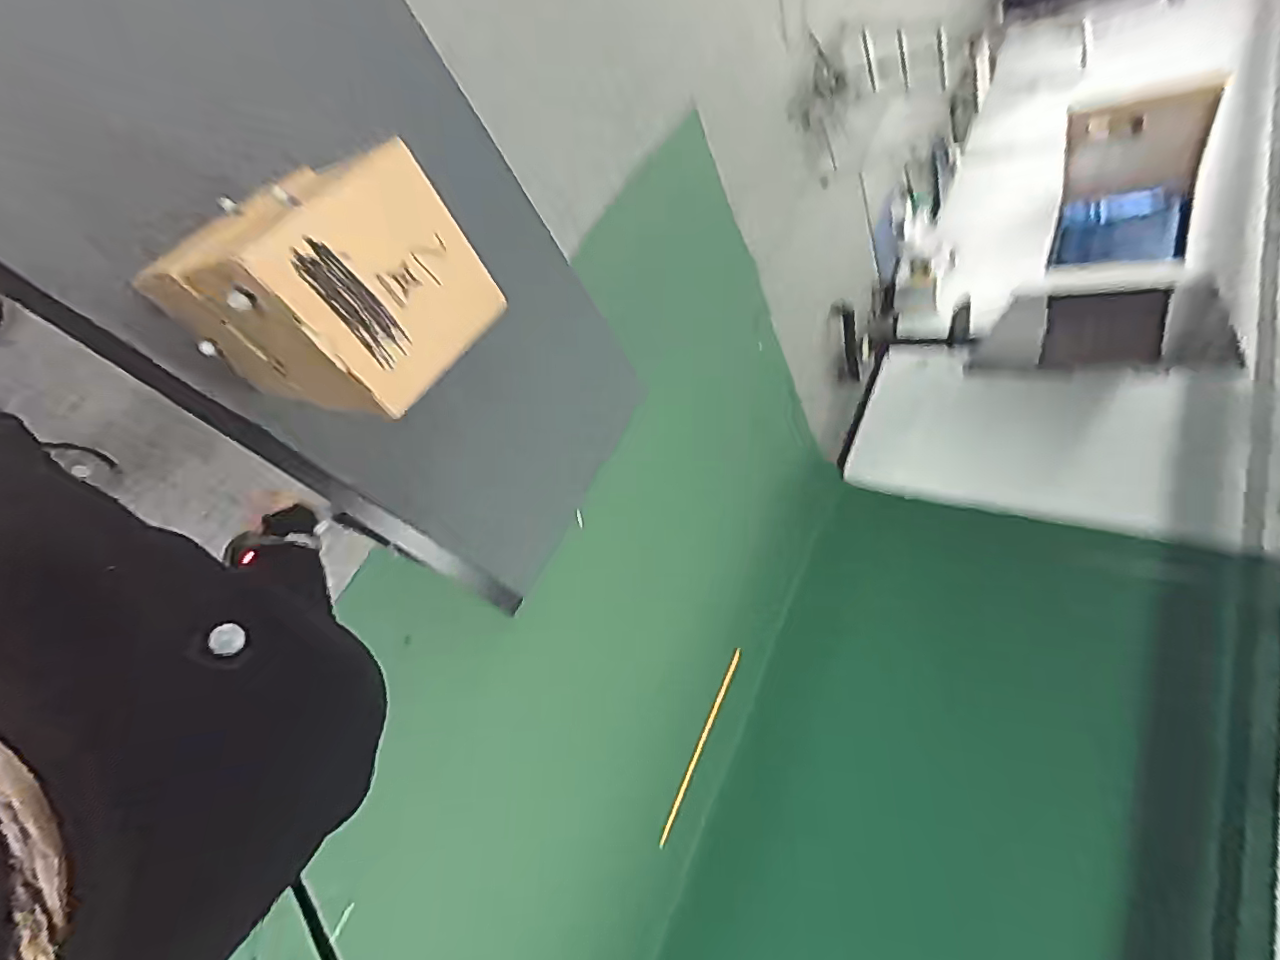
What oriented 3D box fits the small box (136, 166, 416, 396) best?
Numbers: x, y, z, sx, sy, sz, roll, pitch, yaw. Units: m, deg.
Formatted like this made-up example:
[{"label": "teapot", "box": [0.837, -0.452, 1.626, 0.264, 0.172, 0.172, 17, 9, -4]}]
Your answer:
[{"label": "small box", "box": [-0.403, -0.217, 0.606, 0.179, 0.176, 0.168, -57, 138, -26]}]
